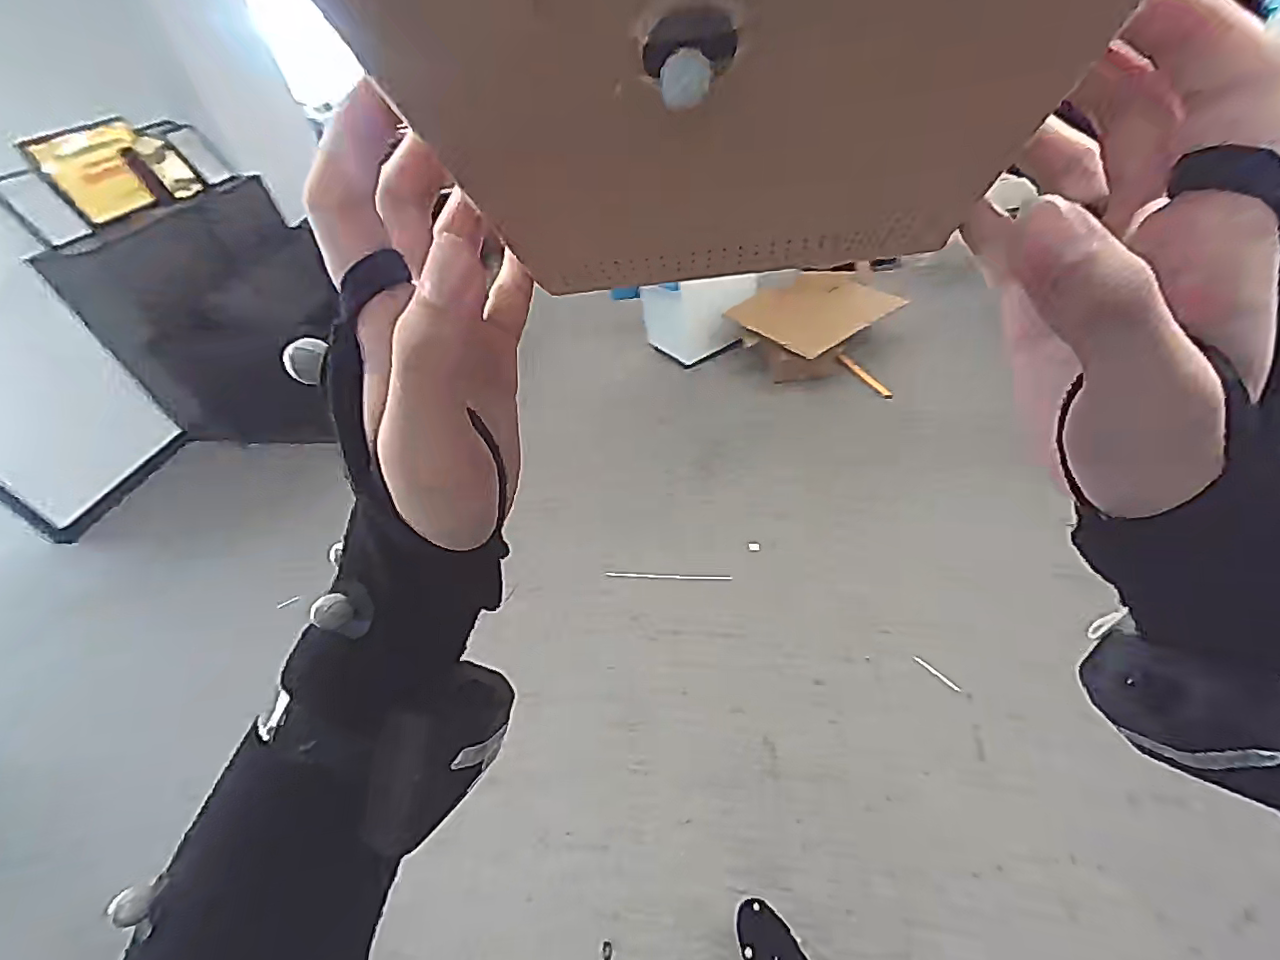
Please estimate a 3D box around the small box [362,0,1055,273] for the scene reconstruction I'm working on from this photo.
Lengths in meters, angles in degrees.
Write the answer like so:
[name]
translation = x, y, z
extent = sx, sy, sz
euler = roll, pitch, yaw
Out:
[small box]
translation = 0.021, -0.181, 0.168
extent = 0.179, 0.176, 0.168
euler = -3, 86, 8
